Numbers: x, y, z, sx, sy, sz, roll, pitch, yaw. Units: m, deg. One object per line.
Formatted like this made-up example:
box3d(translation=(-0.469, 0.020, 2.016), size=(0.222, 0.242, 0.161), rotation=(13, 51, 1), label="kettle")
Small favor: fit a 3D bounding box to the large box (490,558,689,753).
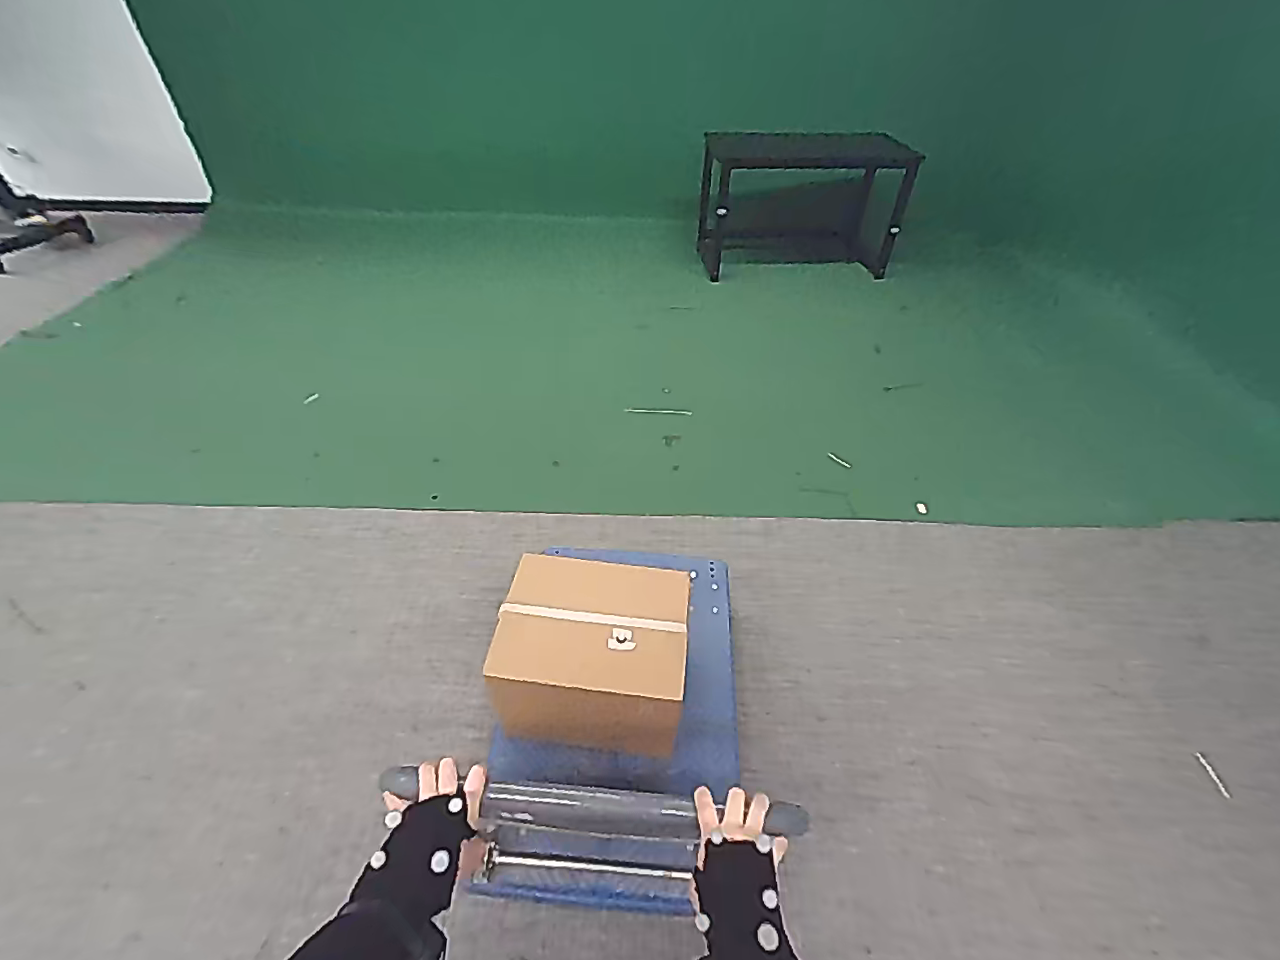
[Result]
box3d(translation=(-0.104, 0.419, 1.296), size=(0.408, 0.320, 0.320), rotation=(6, 44, 3), label="large box")
